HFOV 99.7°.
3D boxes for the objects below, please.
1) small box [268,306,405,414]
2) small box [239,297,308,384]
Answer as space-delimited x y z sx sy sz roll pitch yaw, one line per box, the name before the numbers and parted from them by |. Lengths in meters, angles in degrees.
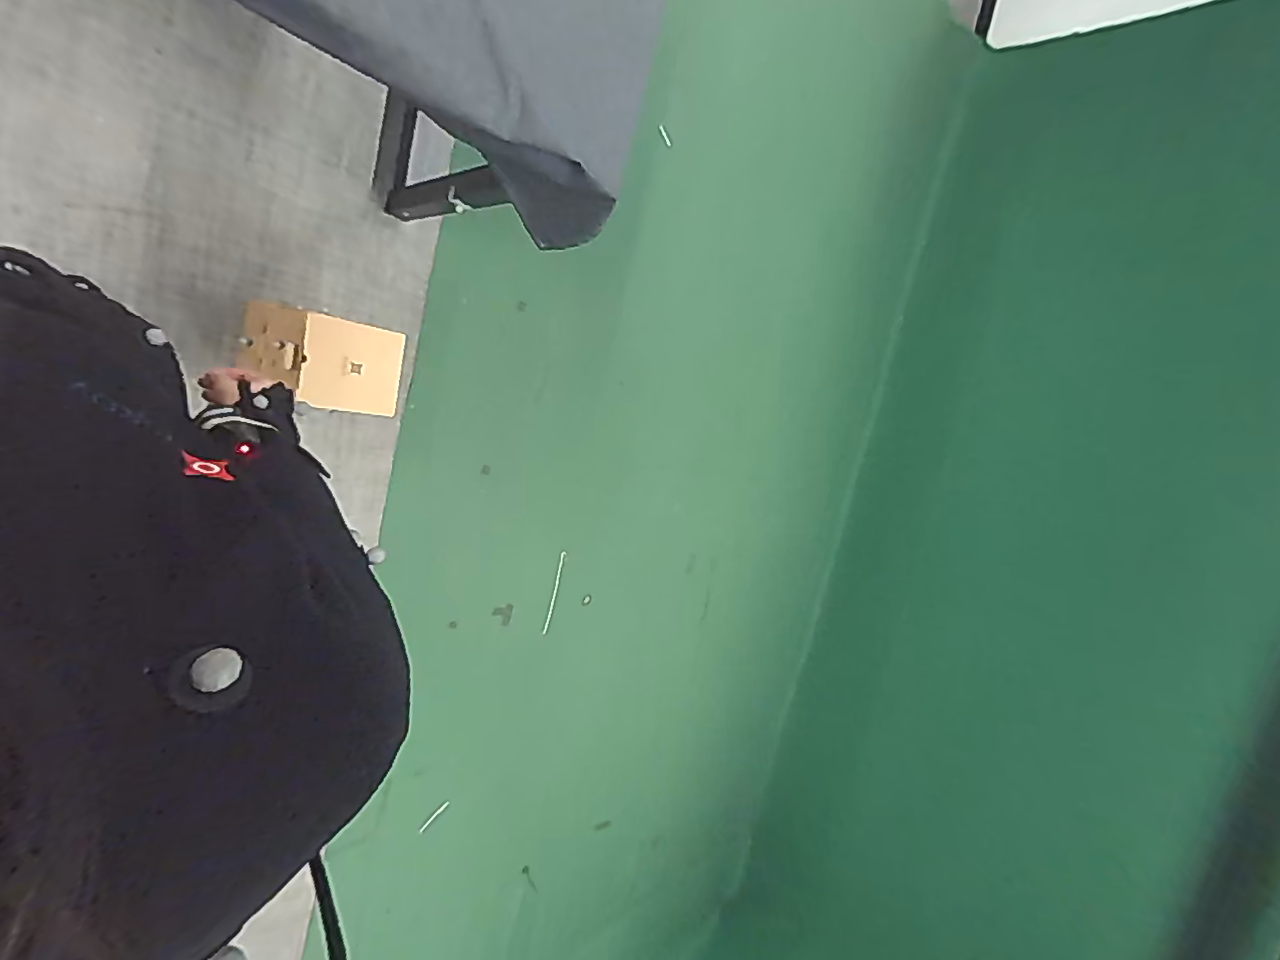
small box | -0.584 -0.232 1.041 0.179 0.176 0.168 3 102 -48
small box | -0.715 -0.275 1.134 0.179 0.176 0.168 5 99 -49
